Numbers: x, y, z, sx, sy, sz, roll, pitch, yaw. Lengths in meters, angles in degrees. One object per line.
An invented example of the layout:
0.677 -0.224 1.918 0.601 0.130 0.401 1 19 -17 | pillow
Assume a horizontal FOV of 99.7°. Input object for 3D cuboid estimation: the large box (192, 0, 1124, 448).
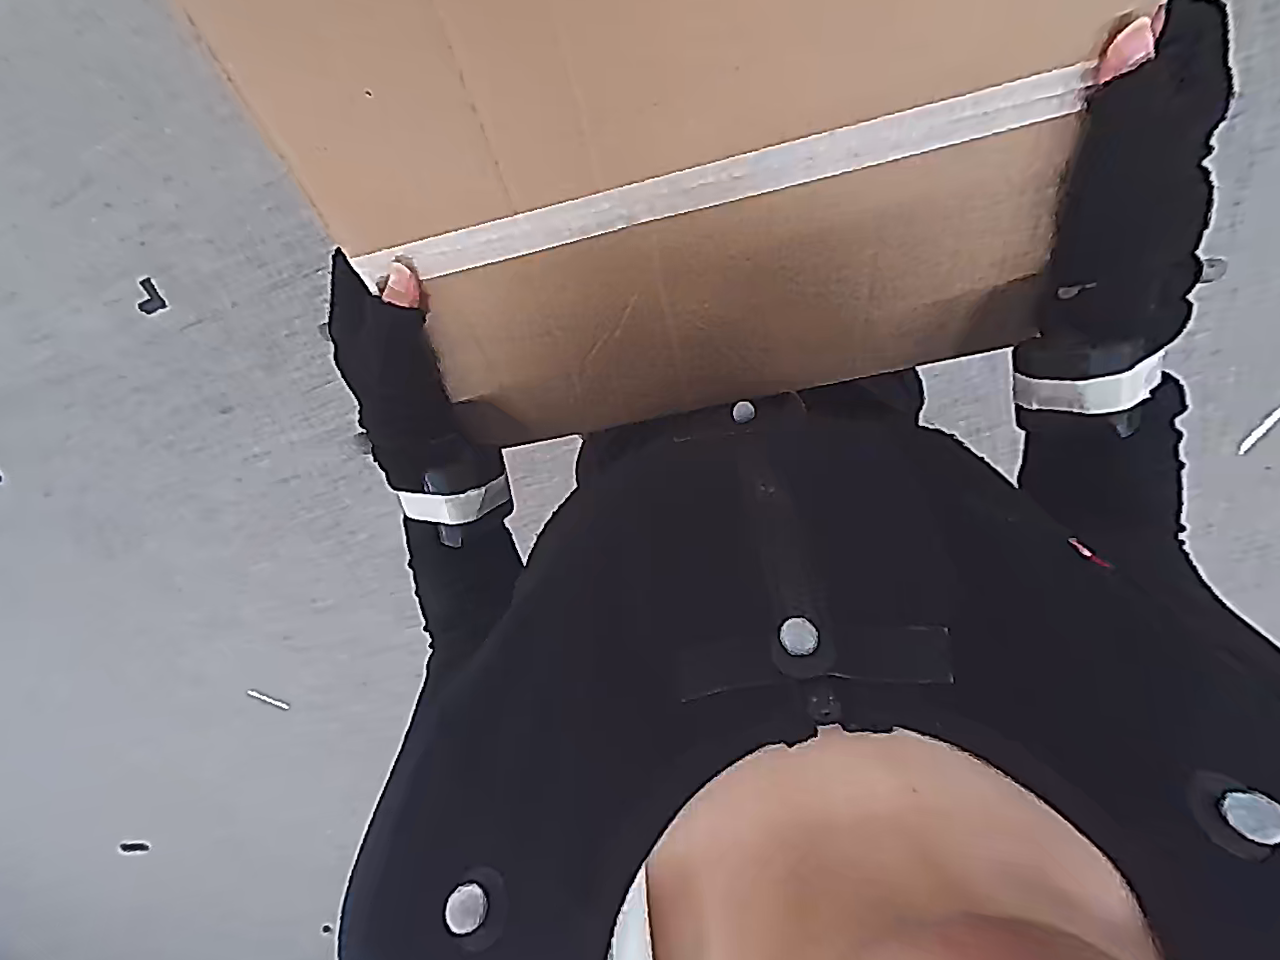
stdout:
0.028 -0.270 0.397 0.408 0.320 0.320 -10 138 8 | large box
